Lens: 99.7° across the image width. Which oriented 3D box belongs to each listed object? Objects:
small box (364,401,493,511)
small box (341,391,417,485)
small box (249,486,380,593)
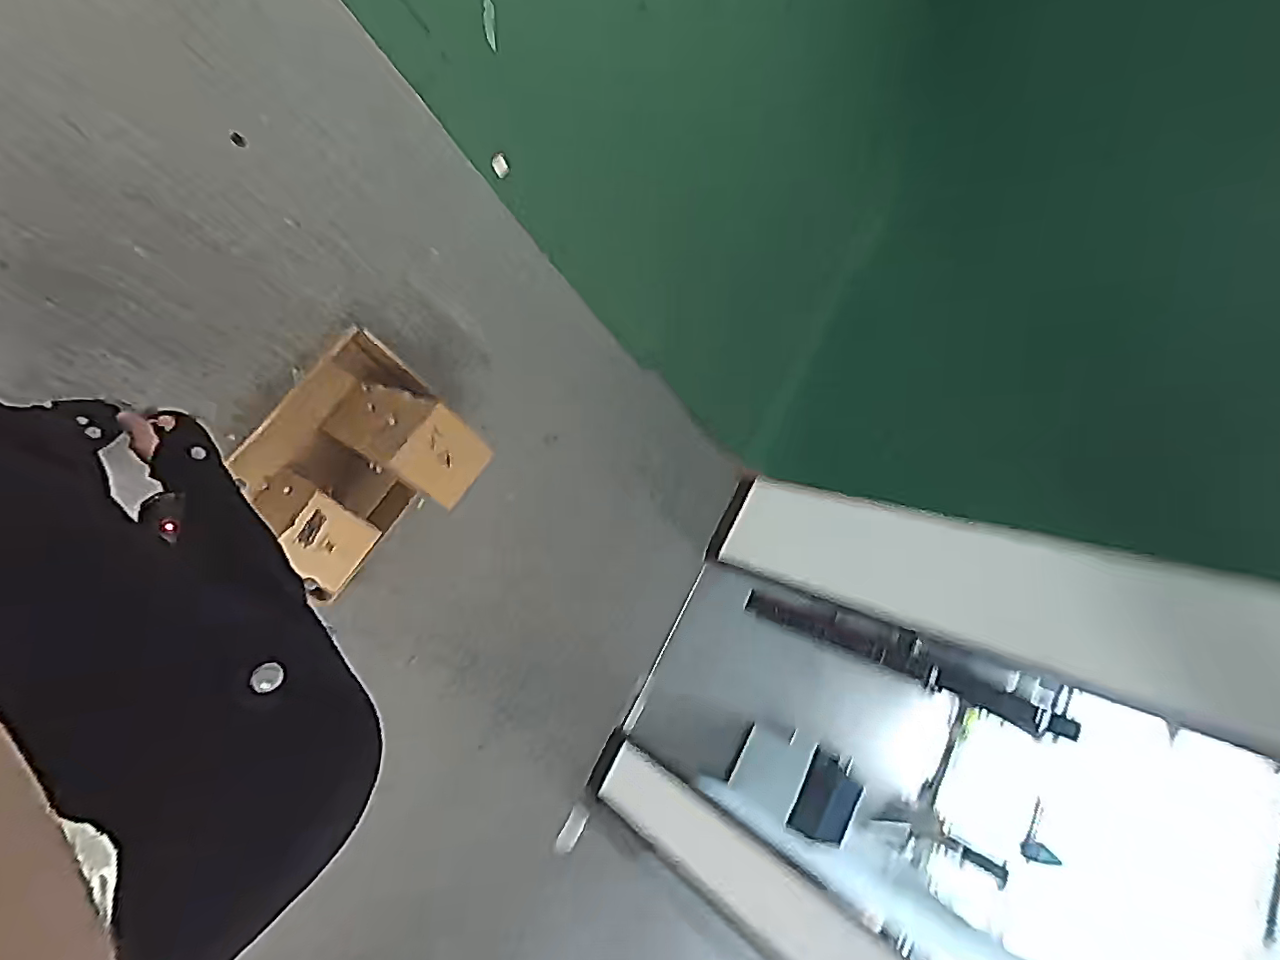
[{"bbox_3d":[-0.475,-0.061,1.214,0.168,0.176,0.179,-55,133,-18],"label":"small box"},{"bbox_3d":[-0.589,-0.101,1.326,0.168,0.176,0.179,-55,133,-17],"label":"small box"},{"bbox_3d":[-0.744,0.128,1.231,0.168,0.176,0.179,-57,134,-19],"label":"small box"}]
